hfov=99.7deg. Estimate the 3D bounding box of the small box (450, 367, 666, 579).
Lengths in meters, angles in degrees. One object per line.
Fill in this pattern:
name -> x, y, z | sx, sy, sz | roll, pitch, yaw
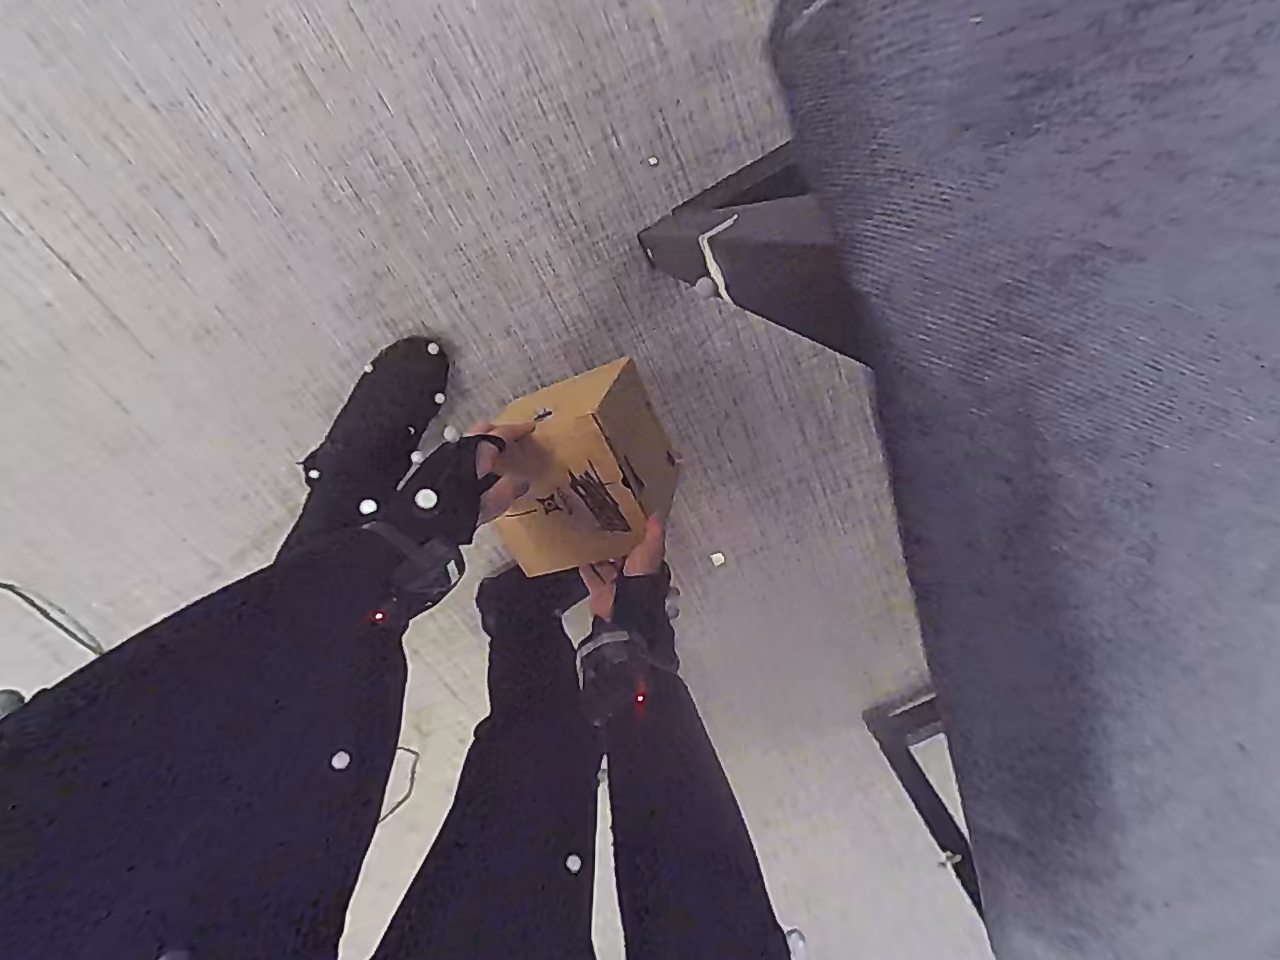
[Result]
small box -> -0.079, -0.013, 0.640 | 0.179, 0.176, 0.168 | -17, 114, 23
